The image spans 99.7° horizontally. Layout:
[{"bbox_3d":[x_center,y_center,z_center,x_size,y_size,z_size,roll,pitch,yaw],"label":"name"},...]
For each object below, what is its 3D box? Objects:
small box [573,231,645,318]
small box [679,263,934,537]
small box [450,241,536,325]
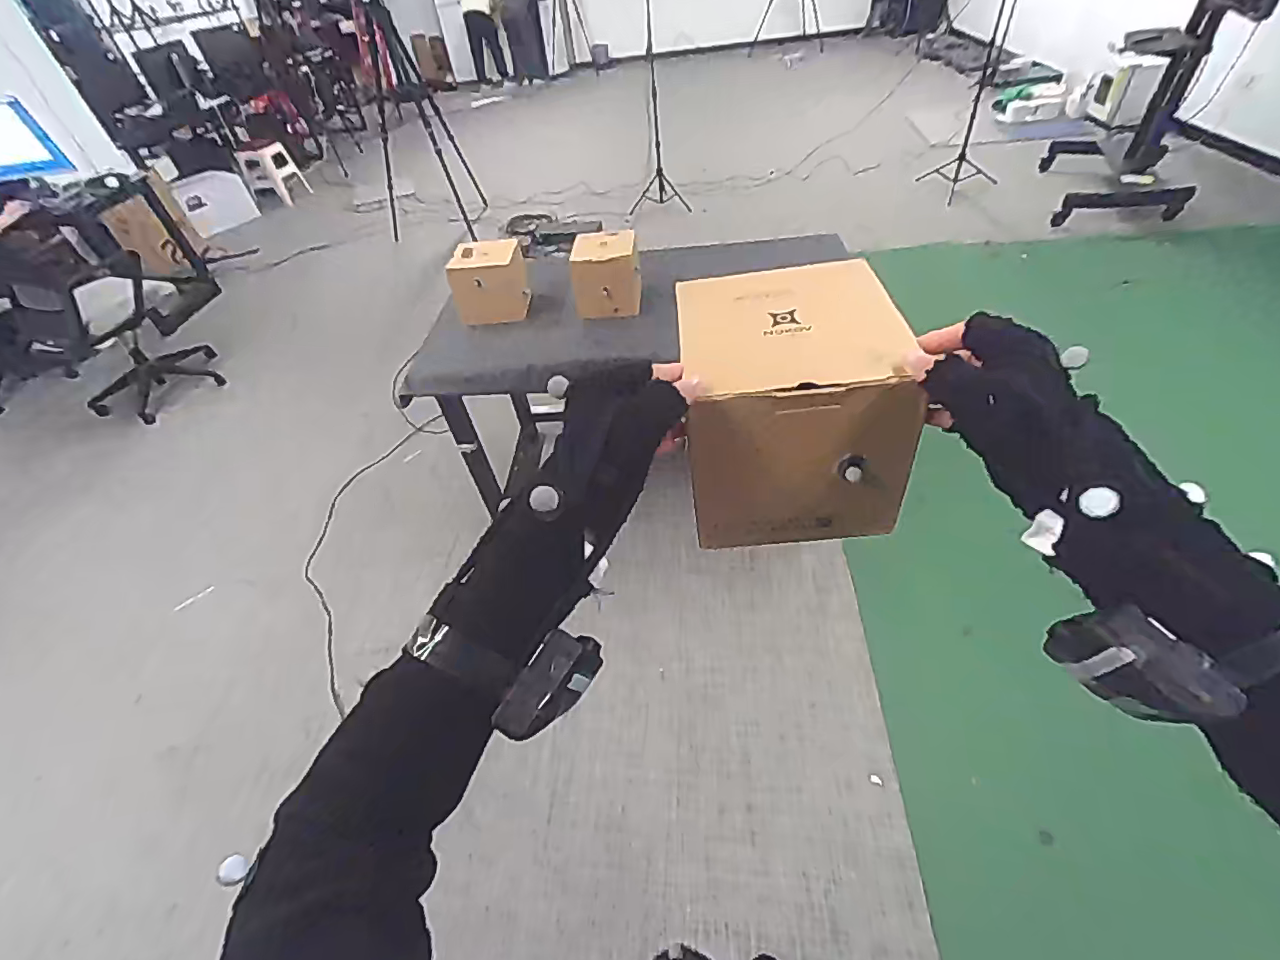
[{"bbox_3d":[-0.078,-0.560,1.489,0.168,0.176,0.179,-2,46,6],"label":"small box"},{"bbox_3d":[0.126,-0.063,0.473,0.168,0.176,0.179,-5,43,6],"label":"small box"},{"bbox_3d":[-0.407,-0.553,1.528,0.179,0.176,0.168,-3,46,4],"label":"small box"}]
